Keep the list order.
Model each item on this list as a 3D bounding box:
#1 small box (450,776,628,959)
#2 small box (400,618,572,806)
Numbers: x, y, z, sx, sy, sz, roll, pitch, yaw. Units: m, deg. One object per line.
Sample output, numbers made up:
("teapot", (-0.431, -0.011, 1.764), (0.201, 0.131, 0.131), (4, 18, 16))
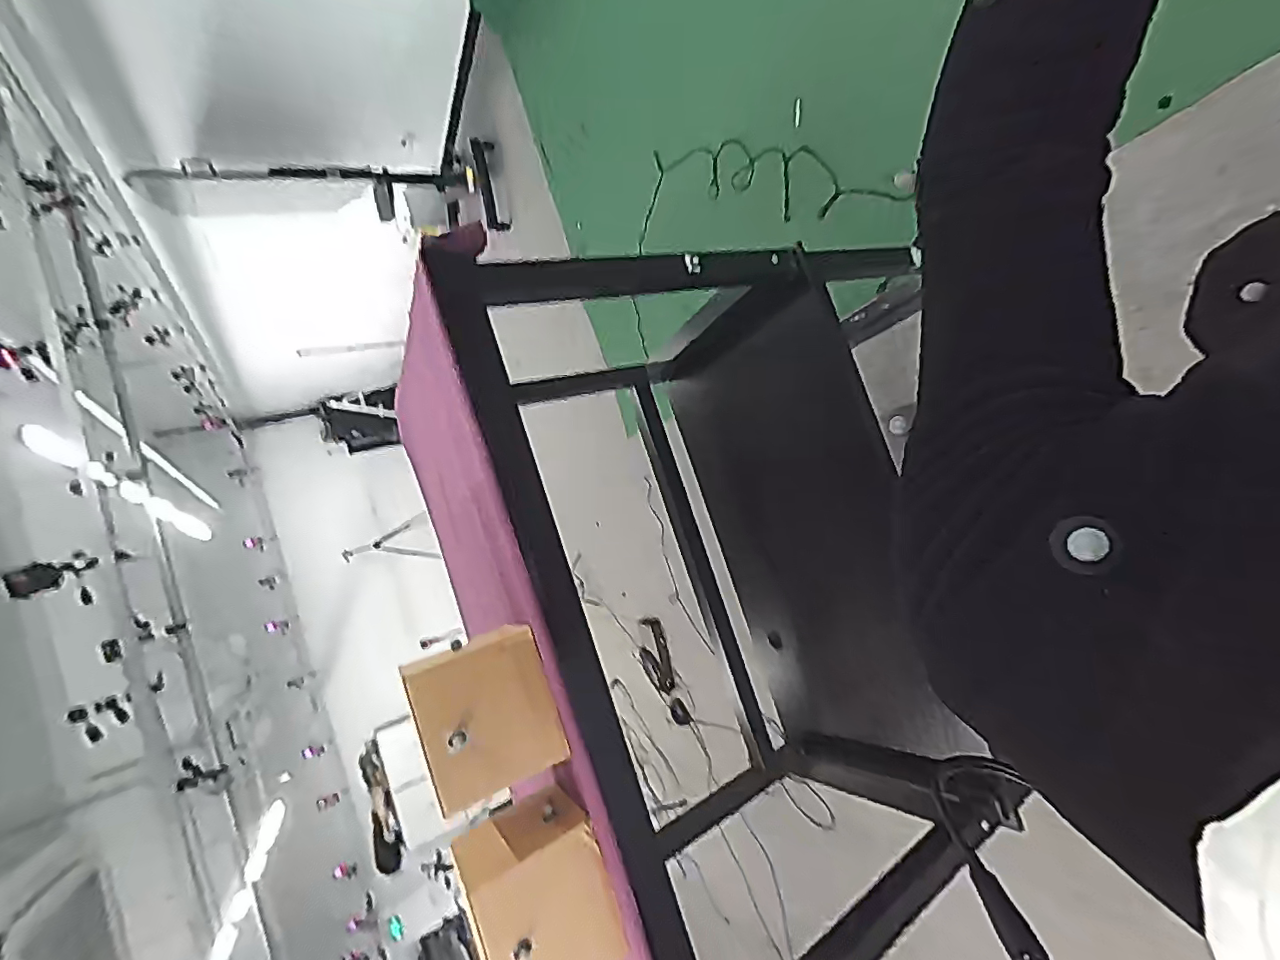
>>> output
("small box", (-0.136, 0.538, 0.720), (0.168, 0.176, 0.179), (-23, 82, 60))
("small box", (-0.214, 0.298, 0.742), (0.168, 0.176, 0.179), (-30, 79, 61))
